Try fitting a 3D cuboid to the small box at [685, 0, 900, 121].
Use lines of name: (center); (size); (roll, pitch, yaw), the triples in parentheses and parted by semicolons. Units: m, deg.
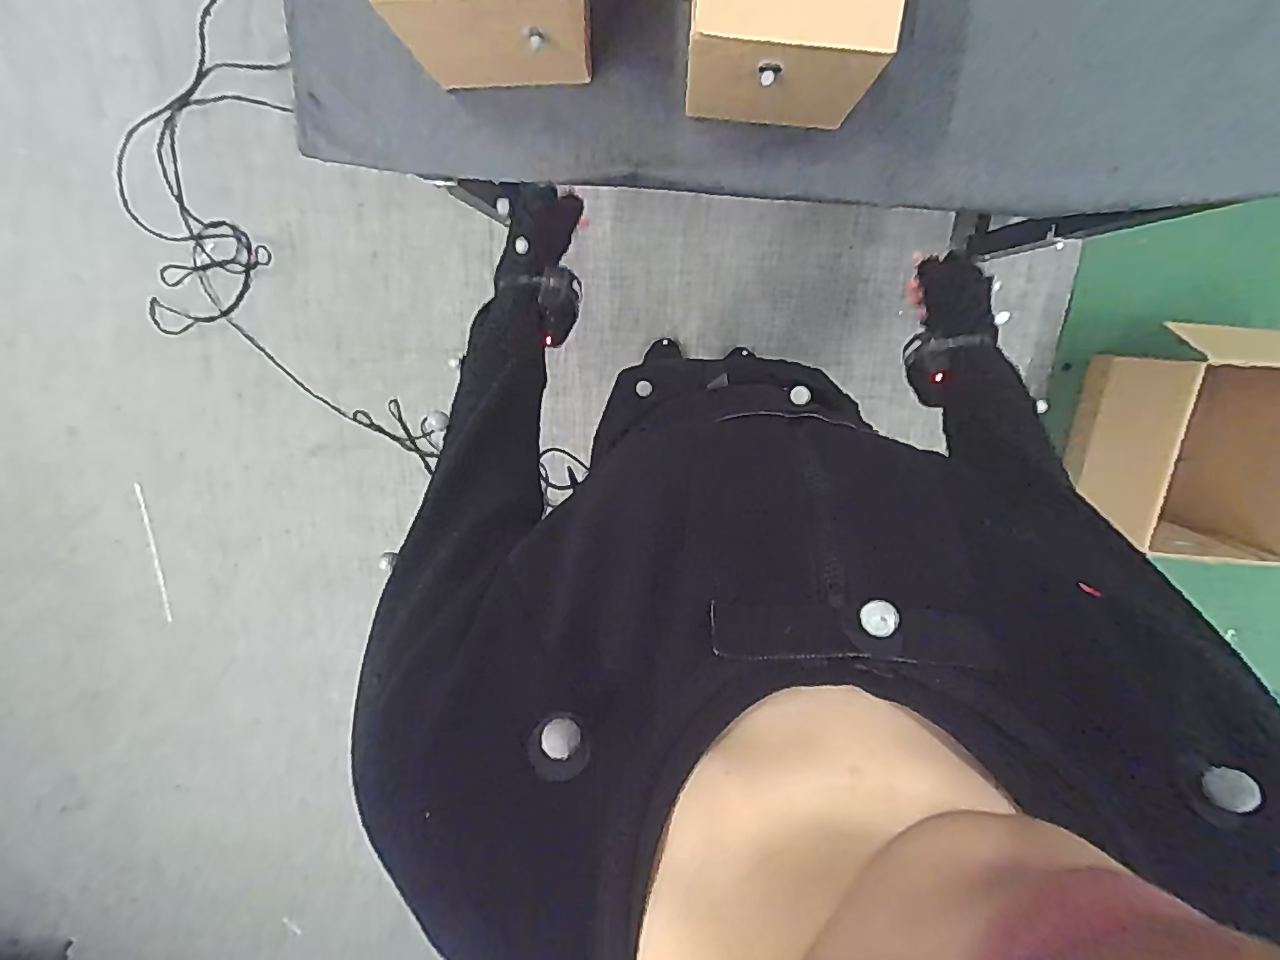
small box: (0.137, -0.466, 0.511); (0.179, 0.176, 0.168); (6, 105, 2)
